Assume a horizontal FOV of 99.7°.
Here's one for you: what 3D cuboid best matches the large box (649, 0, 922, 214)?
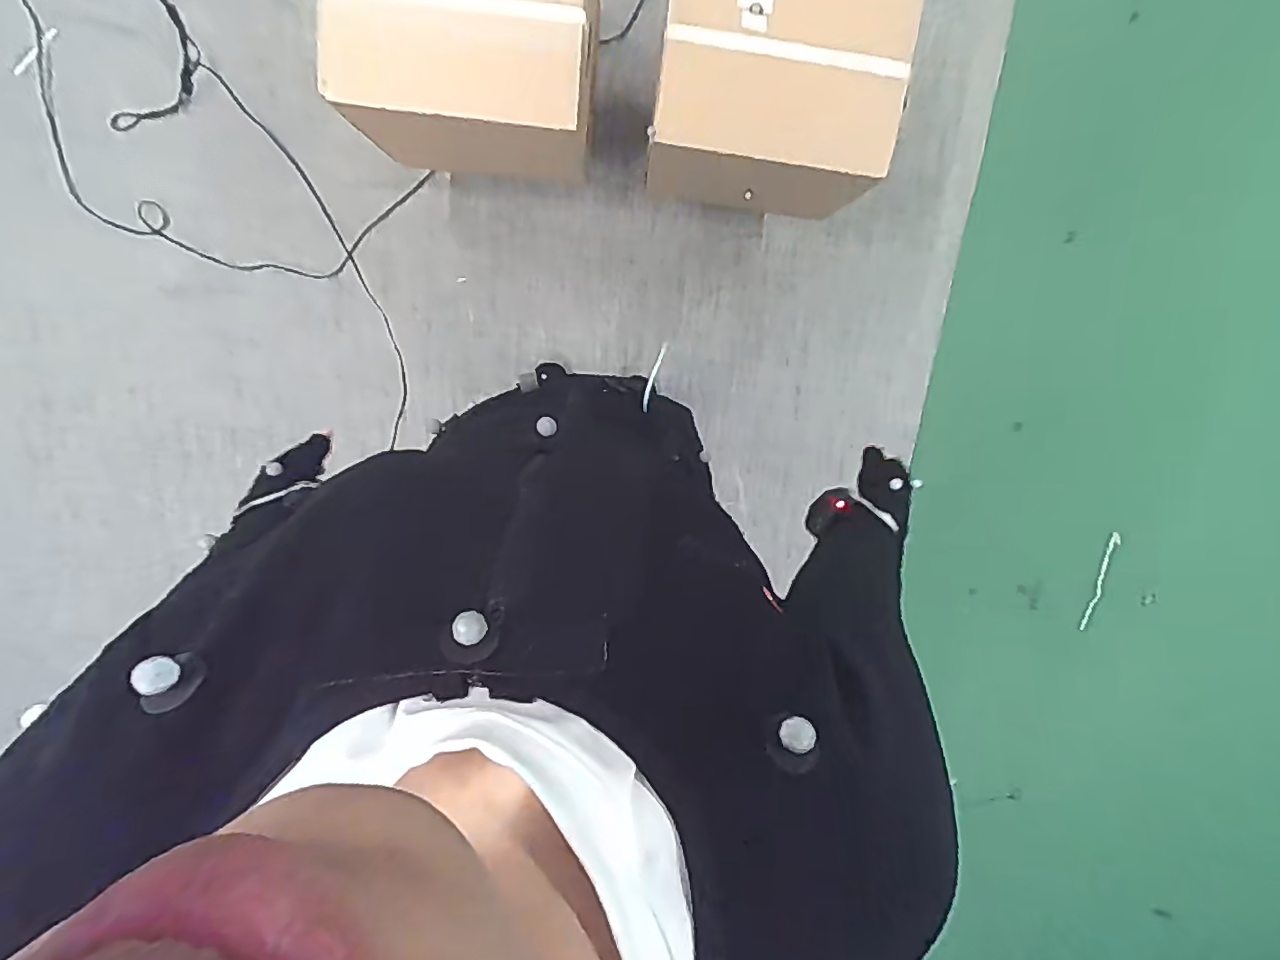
[{"bbox_3d":[0.240,-0.726,1.027,0.408,0.320,0.320,8,103,-4],"label":"large box"}]
